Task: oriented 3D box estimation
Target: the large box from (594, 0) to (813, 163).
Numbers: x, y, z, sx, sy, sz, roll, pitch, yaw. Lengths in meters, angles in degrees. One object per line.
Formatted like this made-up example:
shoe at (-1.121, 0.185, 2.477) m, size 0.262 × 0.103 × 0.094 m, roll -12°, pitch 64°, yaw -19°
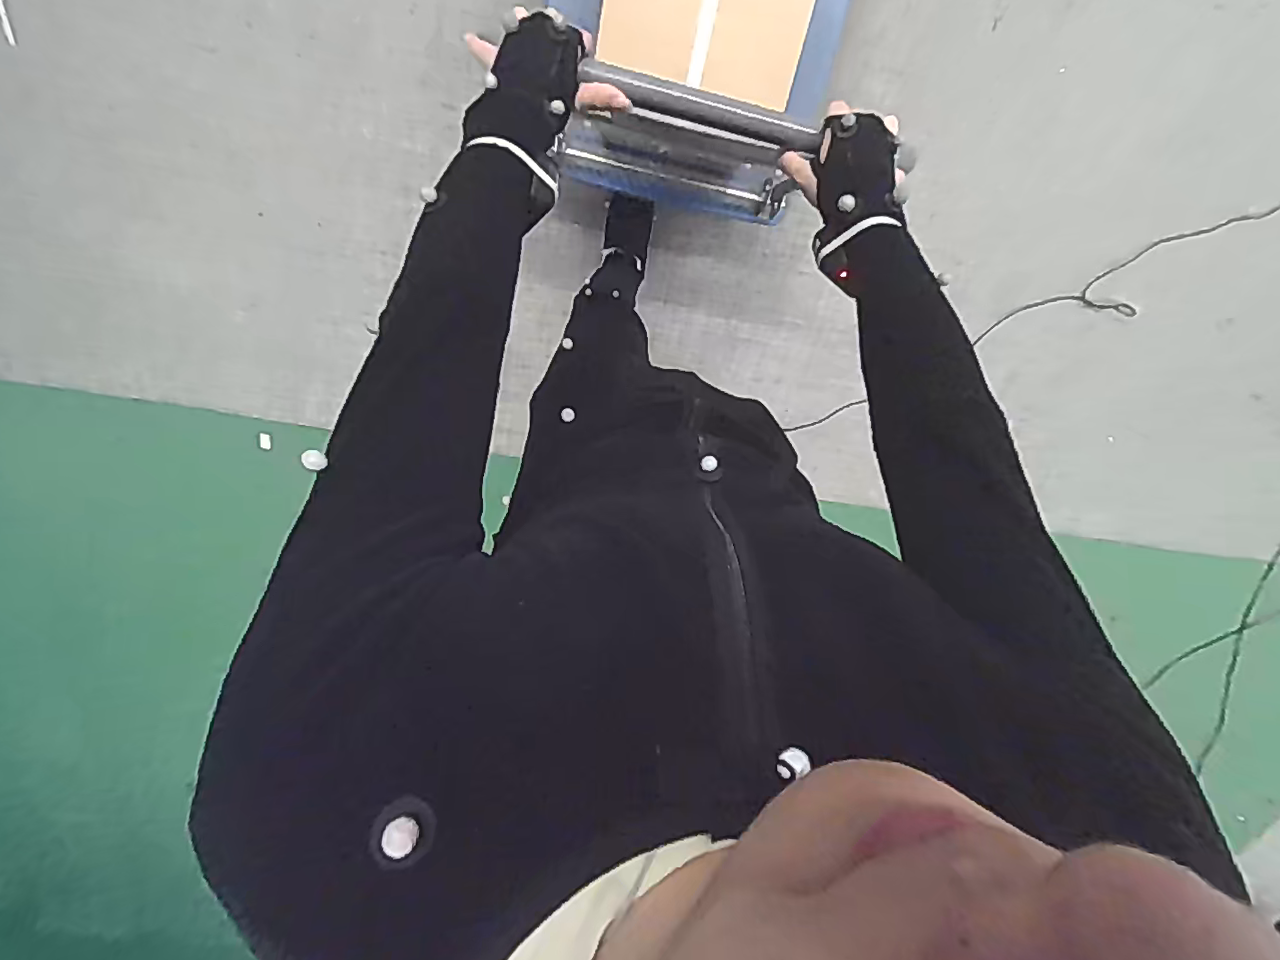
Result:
large box at (0.112, -0.816, 0.928) m, size 0.320 × 0.320 × 0.408 m, roll 11°, pitch 114°, yaw -6°
